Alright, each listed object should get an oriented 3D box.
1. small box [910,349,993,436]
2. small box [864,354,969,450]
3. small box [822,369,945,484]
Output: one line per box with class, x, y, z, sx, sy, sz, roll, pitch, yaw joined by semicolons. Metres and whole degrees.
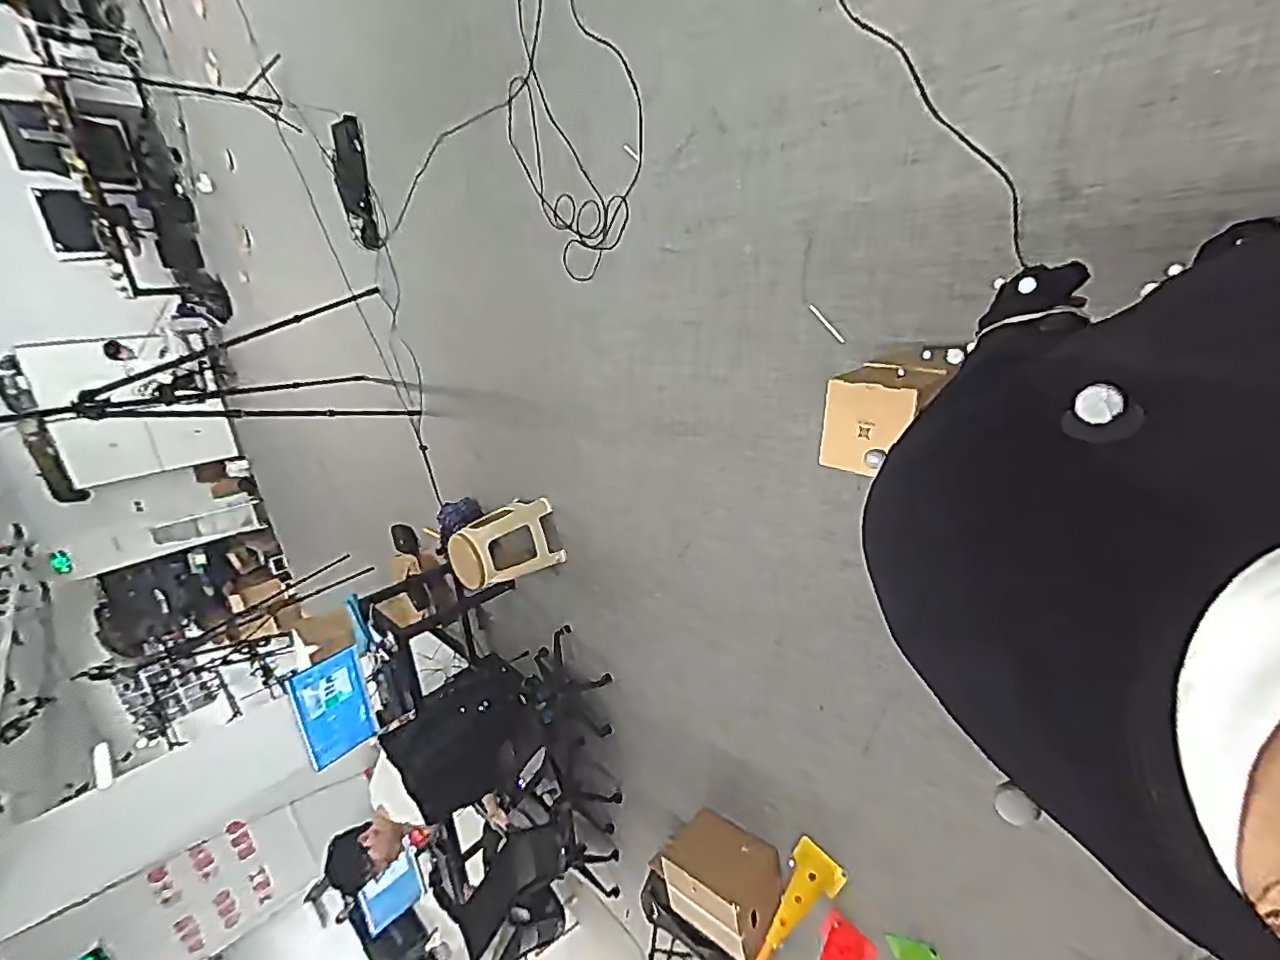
small box;0.710;-0.214;1.281;0.179;0.176;0.168;17;118;40
small box;0.592;-0.169;1.176;0.168;0.176;0.179;18;118;40
small box;0.481;-0.114;1.070;0.168;0.176;0.179;18;118;40
